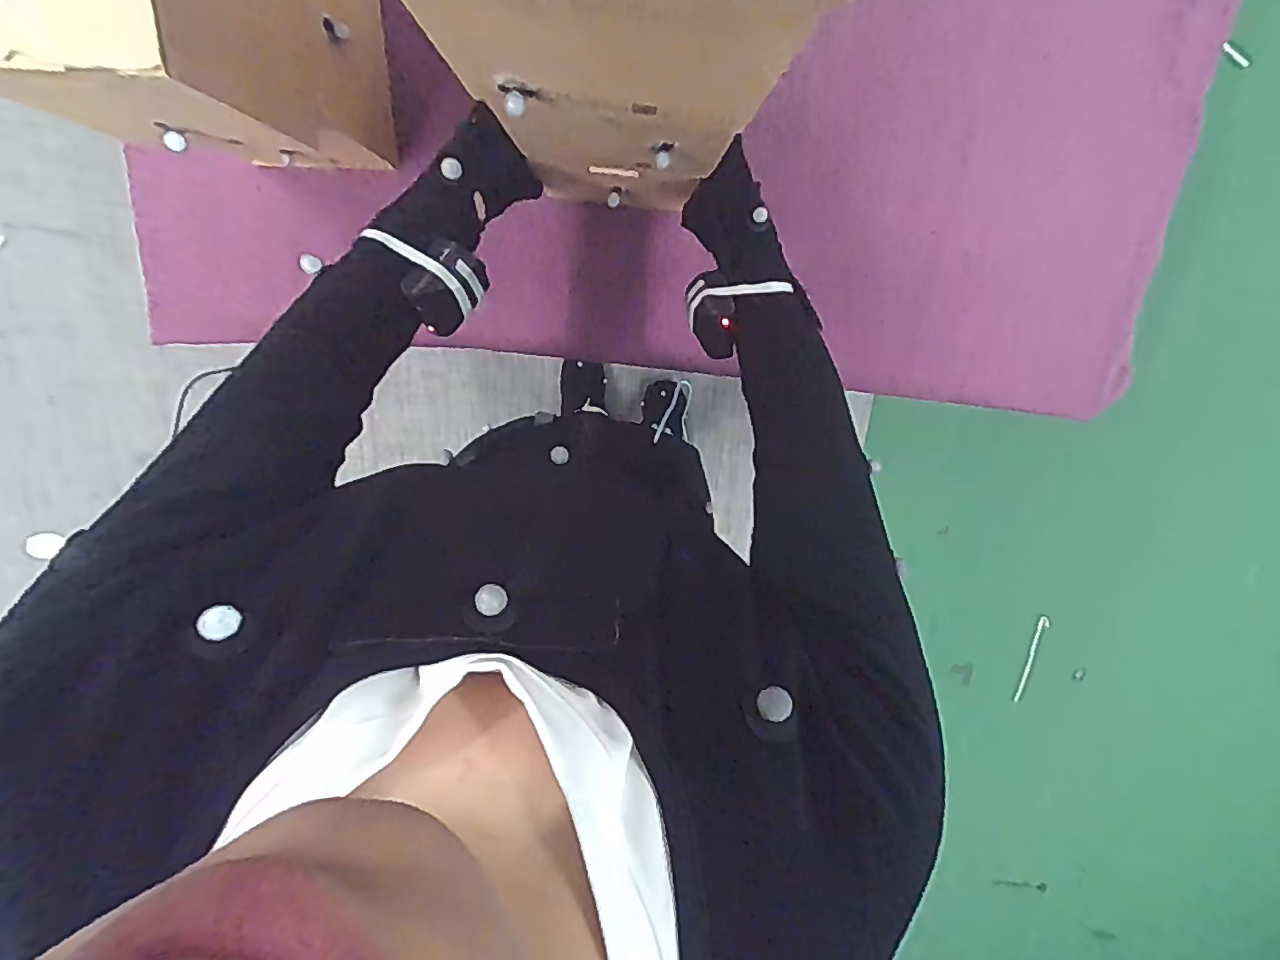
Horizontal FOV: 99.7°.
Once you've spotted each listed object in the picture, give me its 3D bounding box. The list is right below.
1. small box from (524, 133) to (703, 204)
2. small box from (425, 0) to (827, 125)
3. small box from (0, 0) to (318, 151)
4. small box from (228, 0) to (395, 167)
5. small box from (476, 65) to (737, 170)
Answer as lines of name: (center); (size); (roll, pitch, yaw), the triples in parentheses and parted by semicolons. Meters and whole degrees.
small box: (-0.018, -0.383, 0.534); (0.168, 0.176, 0.179); (2, 107, -1)
small box: (-0.003, -0.275, 0.223); (0.168, 0.176, 0.179); (5, 107, -4)
small box: (-0.349, -0.346, 0.362); (0.168, 0.176, 0.179); (2, 109, -2)
small box: (-0.352, -0.418, 0.511); (0.168, 0.176, 0.179); (0, 108, -2)
small box: (-0.006, -0.326, 0.361); (0.168, 0.176, 0.179); (4, 107, -3)
